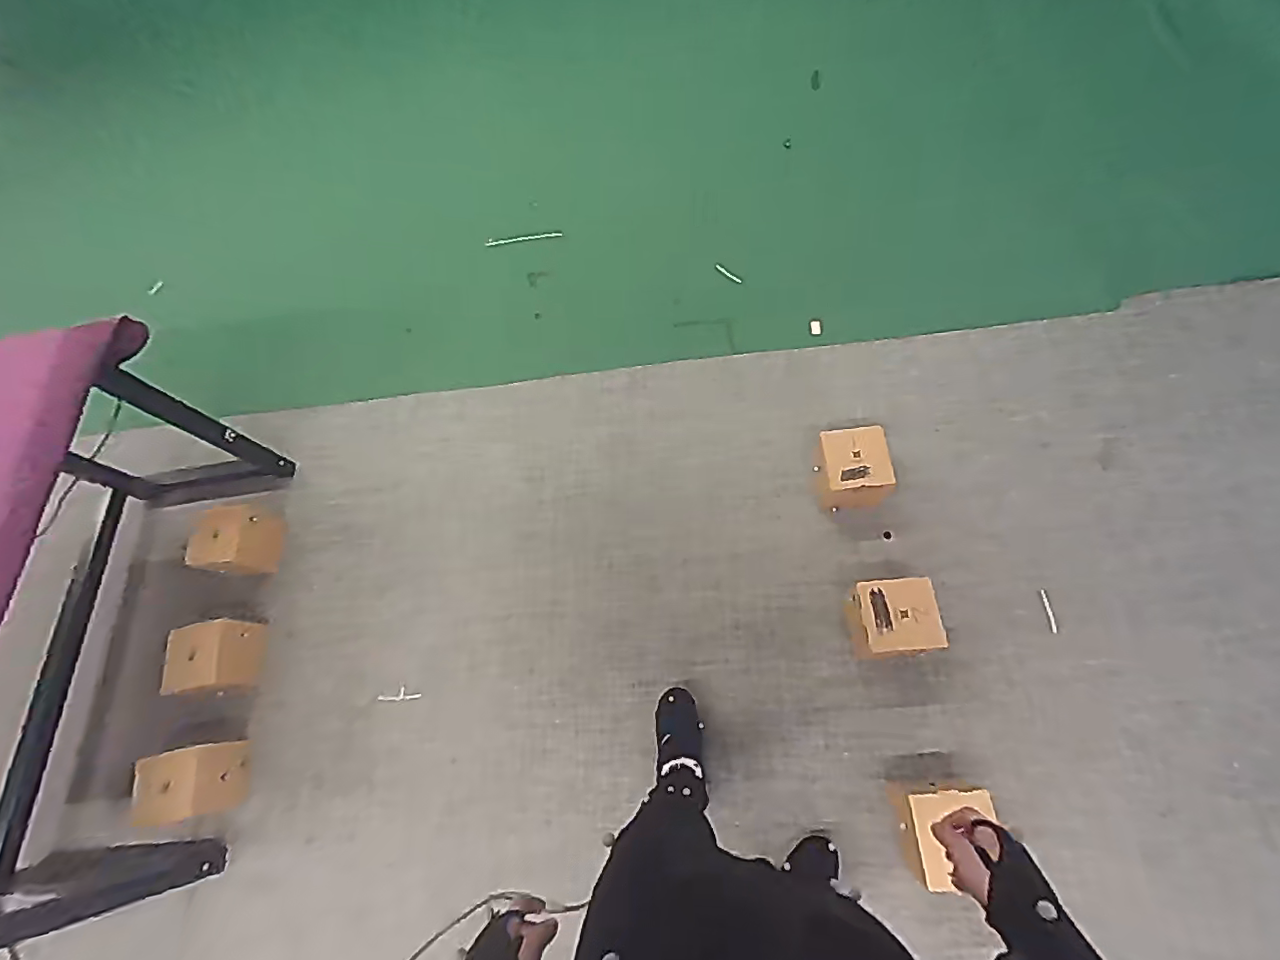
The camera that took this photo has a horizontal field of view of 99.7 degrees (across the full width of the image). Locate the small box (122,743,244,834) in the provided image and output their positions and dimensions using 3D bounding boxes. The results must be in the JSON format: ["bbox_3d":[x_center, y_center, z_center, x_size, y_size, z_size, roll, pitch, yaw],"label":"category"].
[{"bbox_3d":[-1.181,0.798,1.413,0.179,0.176,0.168,-14,67,2],"label":"small box"}]

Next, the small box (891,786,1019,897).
[{"bbox_3d":[0.660,0.764,1.160,0.168,0.176,0.179,-6,67,6],"label":"small box"}]

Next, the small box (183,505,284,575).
[{"bbox_3d":[-1.247,0.192,1.674,0.168,0.176,0.179,-6,67,6],"label":"small box"}]

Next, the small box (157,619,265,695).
[{"bbox_3d":[-1.209,0.507,1.538,0.168,0.176,0.179,-13,67,4],"label":"small box"}]

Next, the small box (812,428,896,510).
[{"bbox_3d":[0.584,-0.023,1.495,0.168,0.176,0.179,-5,66,5],"label":"small box"}]
